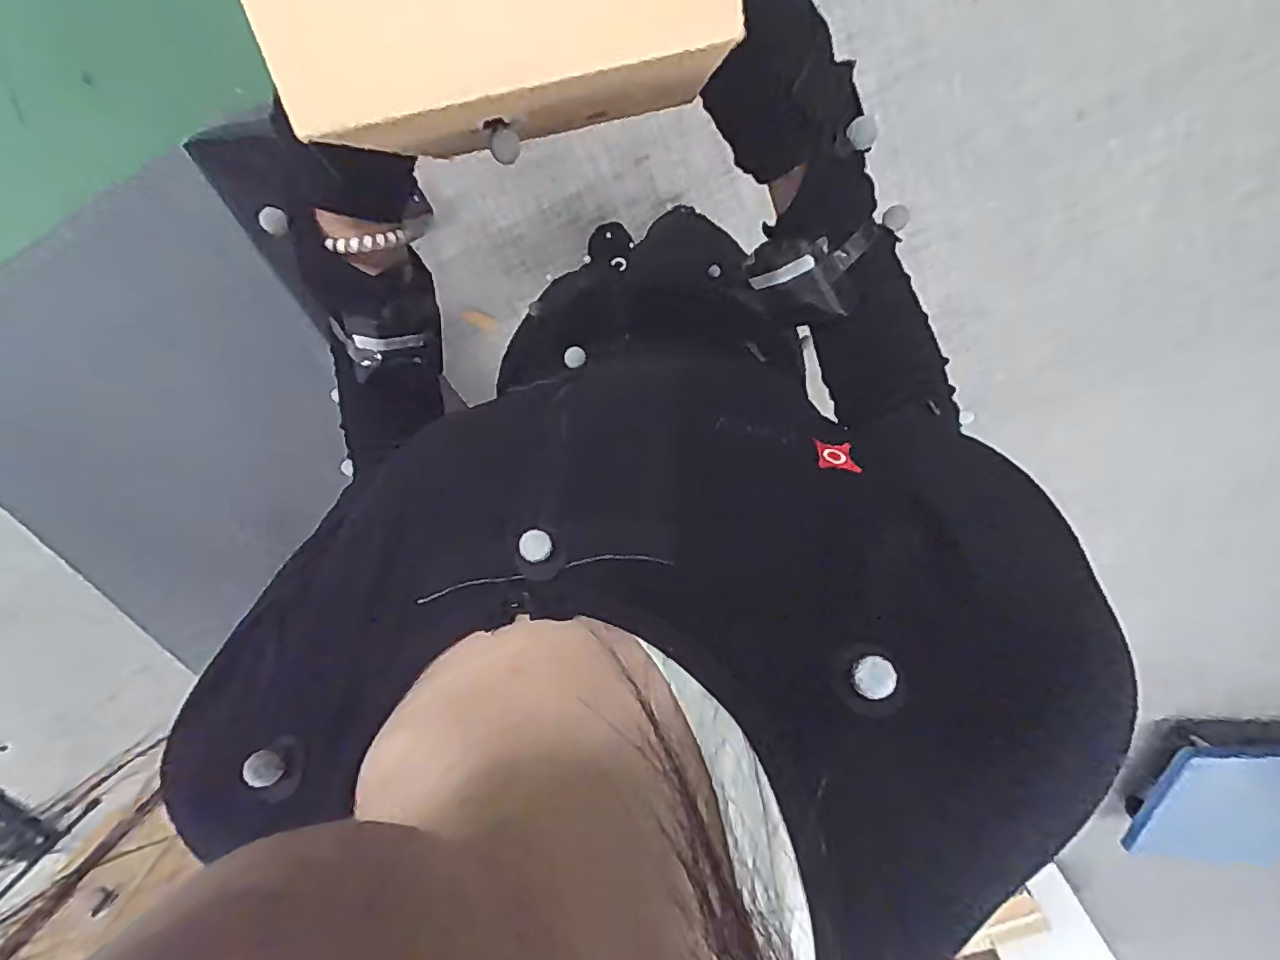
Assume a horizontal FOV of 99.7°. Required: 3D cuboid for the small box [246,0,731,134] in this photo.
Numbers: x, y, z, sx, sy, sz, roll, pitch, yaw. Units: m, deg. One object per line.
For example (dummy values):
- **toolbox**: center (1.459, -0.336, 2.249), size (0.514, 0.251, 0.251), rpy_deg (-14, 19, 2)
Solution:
- **small box**: center (-0.061, -0.258, 0.220), size (0.168, 0.176, 0.179), rpy_deg (-9, 117, 4)
